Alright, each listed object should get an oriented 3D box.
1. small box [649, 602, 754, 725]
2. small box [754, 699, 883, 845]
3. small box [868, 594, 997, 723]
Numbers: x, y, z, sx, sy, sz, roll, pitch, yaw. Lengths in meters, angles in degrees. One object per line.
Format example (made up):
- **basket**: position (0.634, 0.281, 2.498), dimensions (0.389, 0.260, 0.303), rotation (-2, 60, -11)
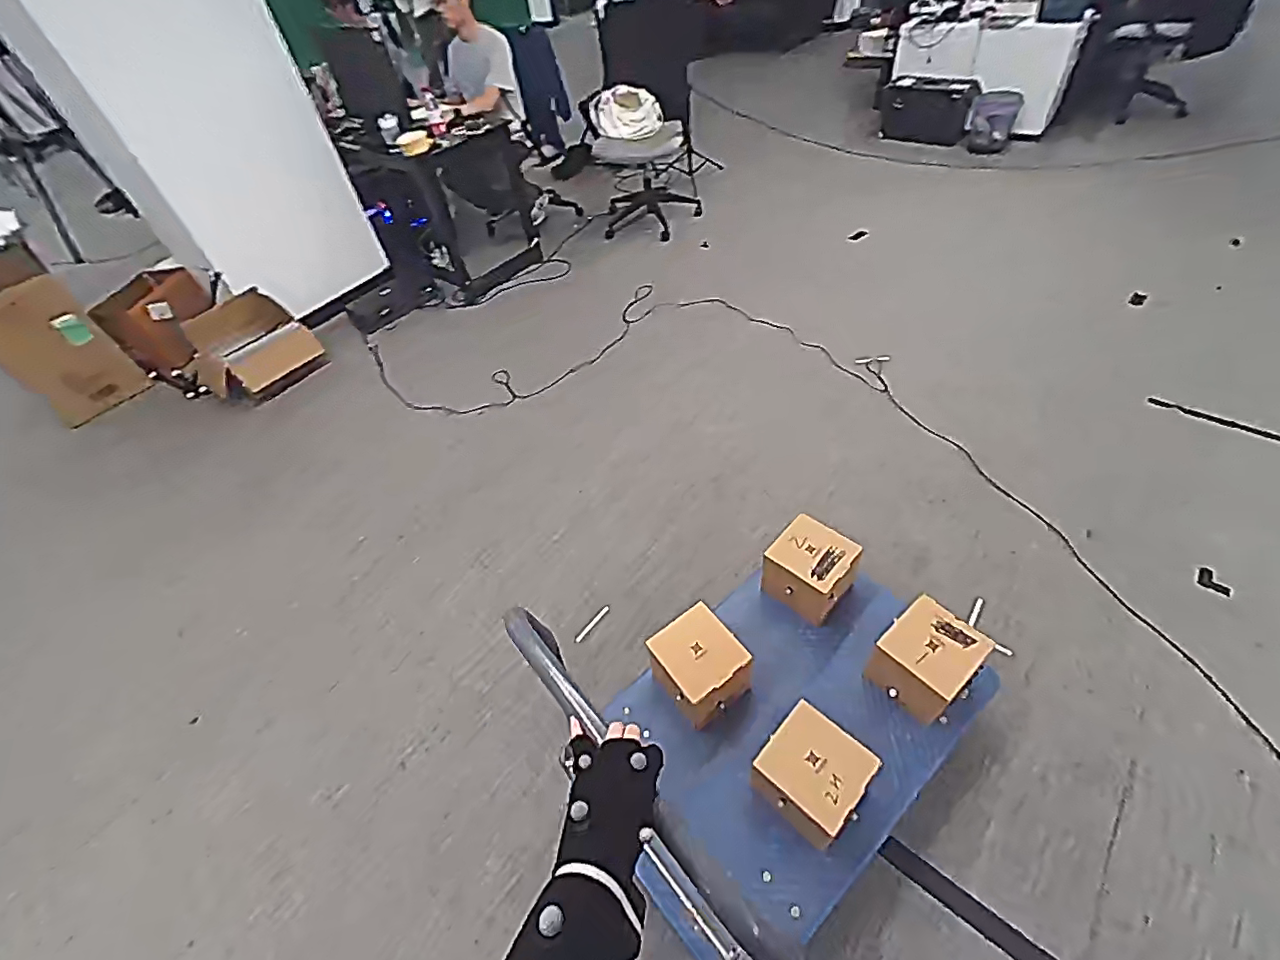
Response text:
- **small box**: position (0.138, 0.421, 1.236), dimensions (0.168, 0.176, 0.179), rotation (-32, 53, -19)
- **small box**: position (0.340, 0.577, 1.064), dimensions (0.179, 0.176, 0.168), rotation (34, 62, 32)
- **small box**: position (0.627, 0.392, 1.181), dimensions (0.179, 0.176, 0.168), rotation (-36, 53, -20)
